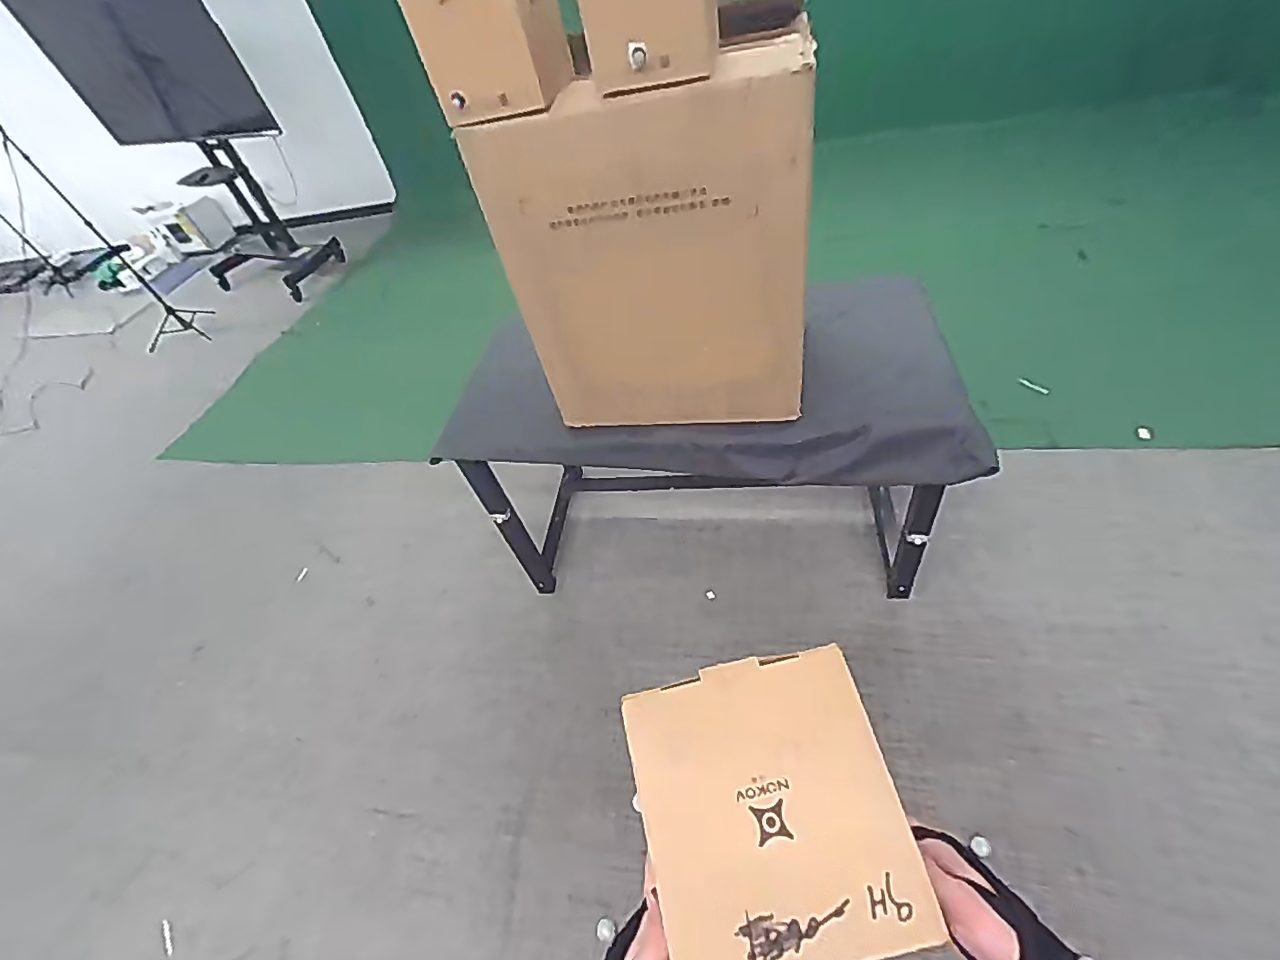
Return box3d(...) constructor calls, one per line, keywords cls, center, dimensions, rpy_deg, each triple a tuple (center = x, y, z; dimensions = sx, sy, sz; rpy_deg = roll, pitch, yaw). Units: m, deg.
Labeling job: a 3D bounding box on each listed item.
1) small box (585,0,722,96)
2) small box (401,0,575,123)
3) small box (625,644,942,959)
box3d(cls="small box", center=(0.022, -0.663, 0.748), dimensions=(0.168, 0.176, 0.179), rpy_deg=(-1, 50, 15))
box3d(cls="small box", center=(-0.211, -0.658, 0.807), dimensions=(0.168, 0.176, 0.179), rpy_deg=(0, 49, 16))
box3d(cls="small box", center=(0.091, 0.247, 0.427), dimensions=(0.168, 0.176, 0.179), rpy_deg=(-14, 64, 1))
